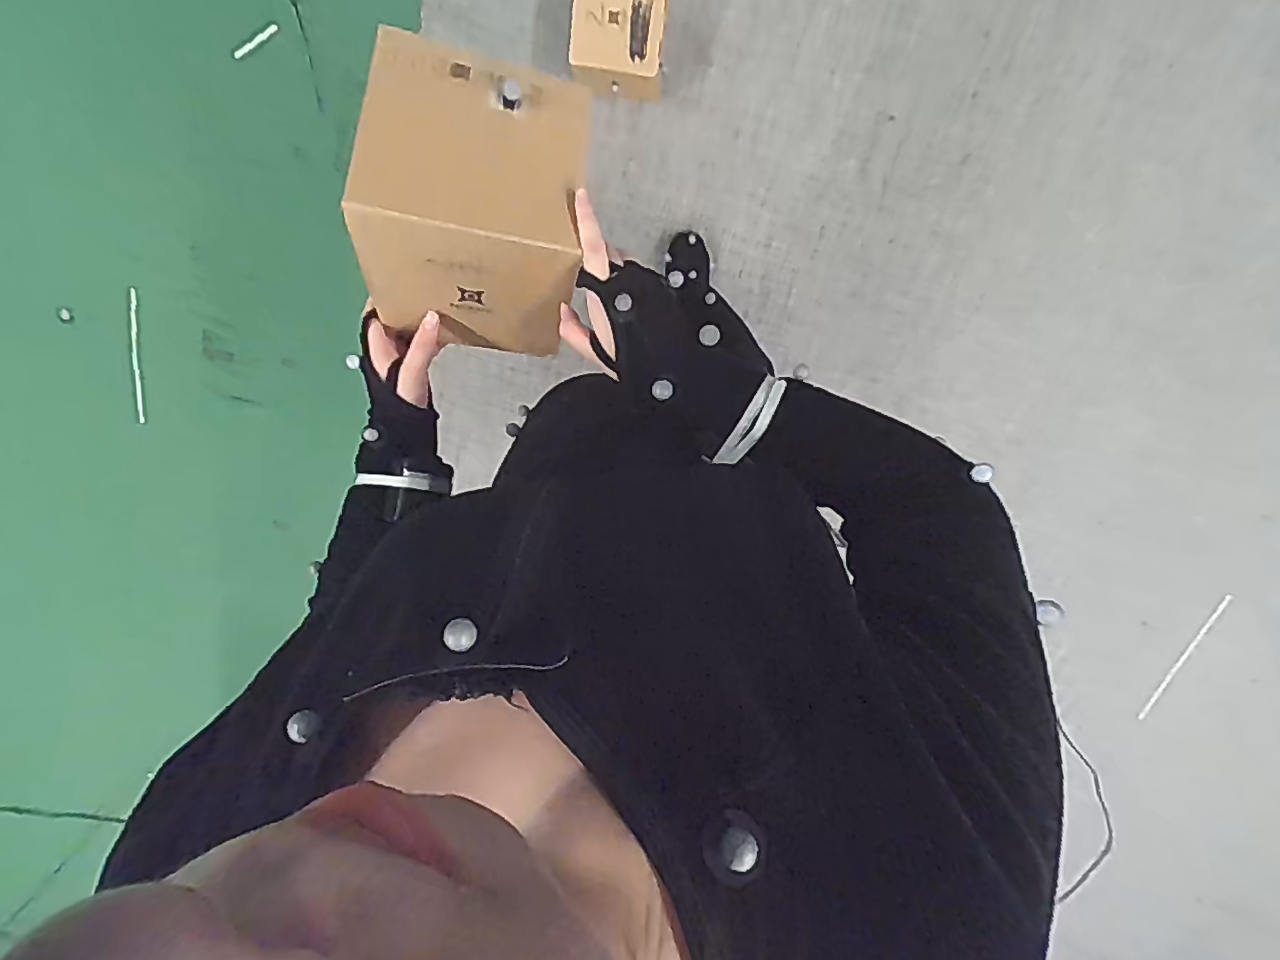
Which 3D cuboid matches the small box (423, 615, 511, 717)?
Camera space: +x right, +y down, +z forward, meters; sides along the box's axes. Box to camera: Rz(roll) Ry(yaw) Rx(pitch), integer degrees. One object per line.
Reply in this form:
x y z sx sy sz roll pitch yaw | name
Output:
-0.461 0.495 1.462 0.168 0.176 0.179 19 109 -5 | small box

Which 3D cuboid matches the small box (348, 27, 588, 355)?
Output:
-0.143 -0.239 0.487 0.168 0.179 0.176 6 74 -16 | small box
